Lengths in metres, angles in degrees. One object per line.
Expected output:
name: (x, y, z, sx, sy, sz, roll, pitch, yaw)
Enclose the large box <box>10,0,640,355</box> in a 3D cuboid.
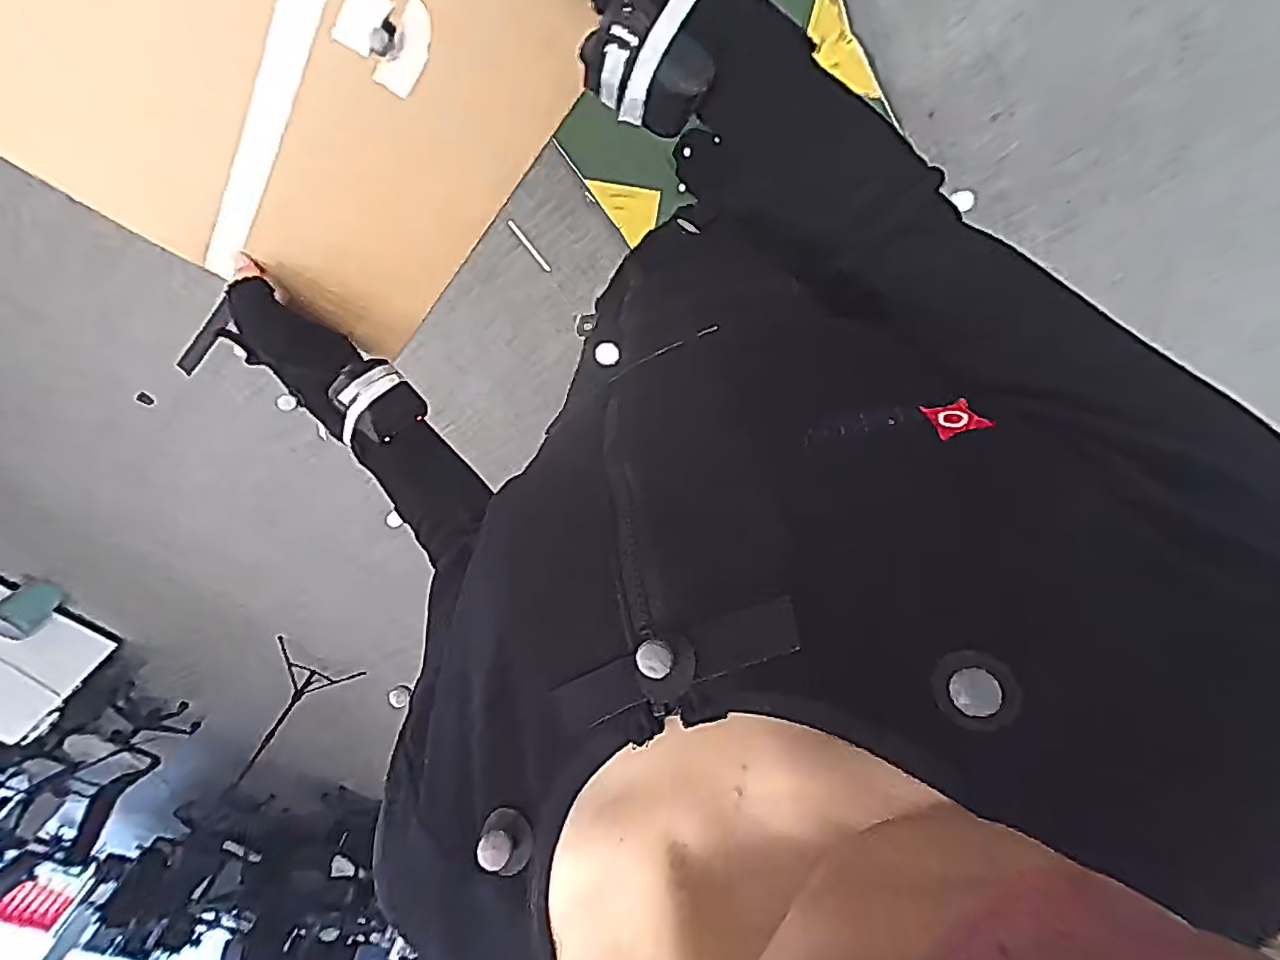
large box: (-0.233, -0.400, 0.471, 0.320, 0.320, 0.408, 30, 132, -31)
